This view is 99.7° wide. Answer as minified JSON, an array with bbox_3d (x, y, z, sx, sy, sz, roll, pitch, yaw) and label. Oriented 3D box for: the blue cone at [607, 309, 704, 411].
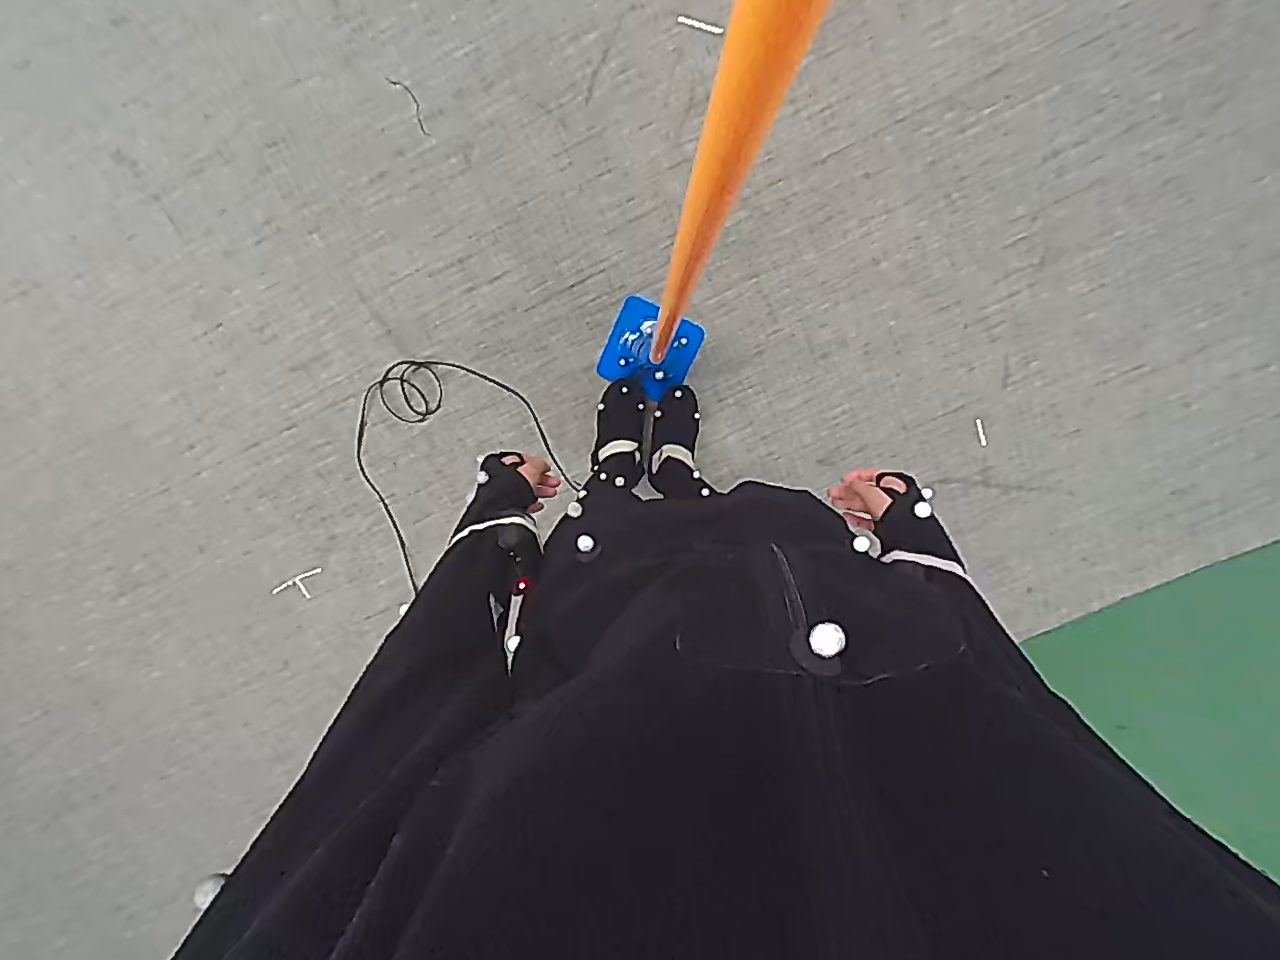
[{"bbox_3d":[0.036,-0.233,1.064,0.192,0.380,0.193,23,102,-6],"label":"blue cone"}]
